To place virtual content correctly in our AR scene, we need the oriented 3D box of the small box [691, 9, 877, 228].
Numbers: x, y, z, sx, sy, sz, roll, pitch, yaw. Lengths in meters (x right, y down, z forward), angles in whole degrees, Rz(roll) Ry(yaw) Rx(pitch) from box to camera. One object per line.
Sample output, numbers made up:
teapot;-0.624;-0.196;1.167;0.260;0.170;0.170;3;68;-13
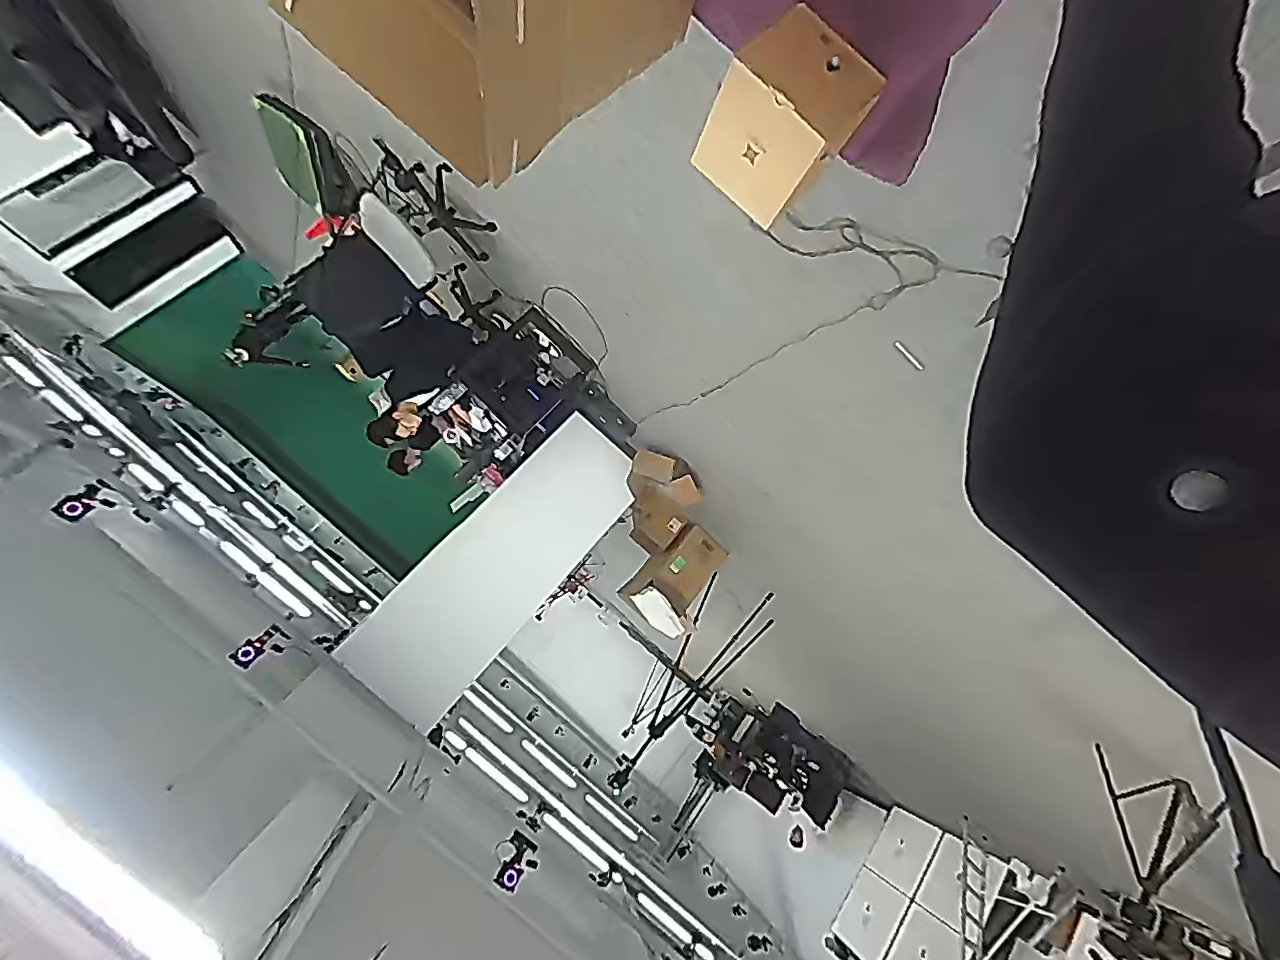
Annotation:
small box;0.209;-0.526;0.799;0.168;0.176;0.179;42;160;-1
